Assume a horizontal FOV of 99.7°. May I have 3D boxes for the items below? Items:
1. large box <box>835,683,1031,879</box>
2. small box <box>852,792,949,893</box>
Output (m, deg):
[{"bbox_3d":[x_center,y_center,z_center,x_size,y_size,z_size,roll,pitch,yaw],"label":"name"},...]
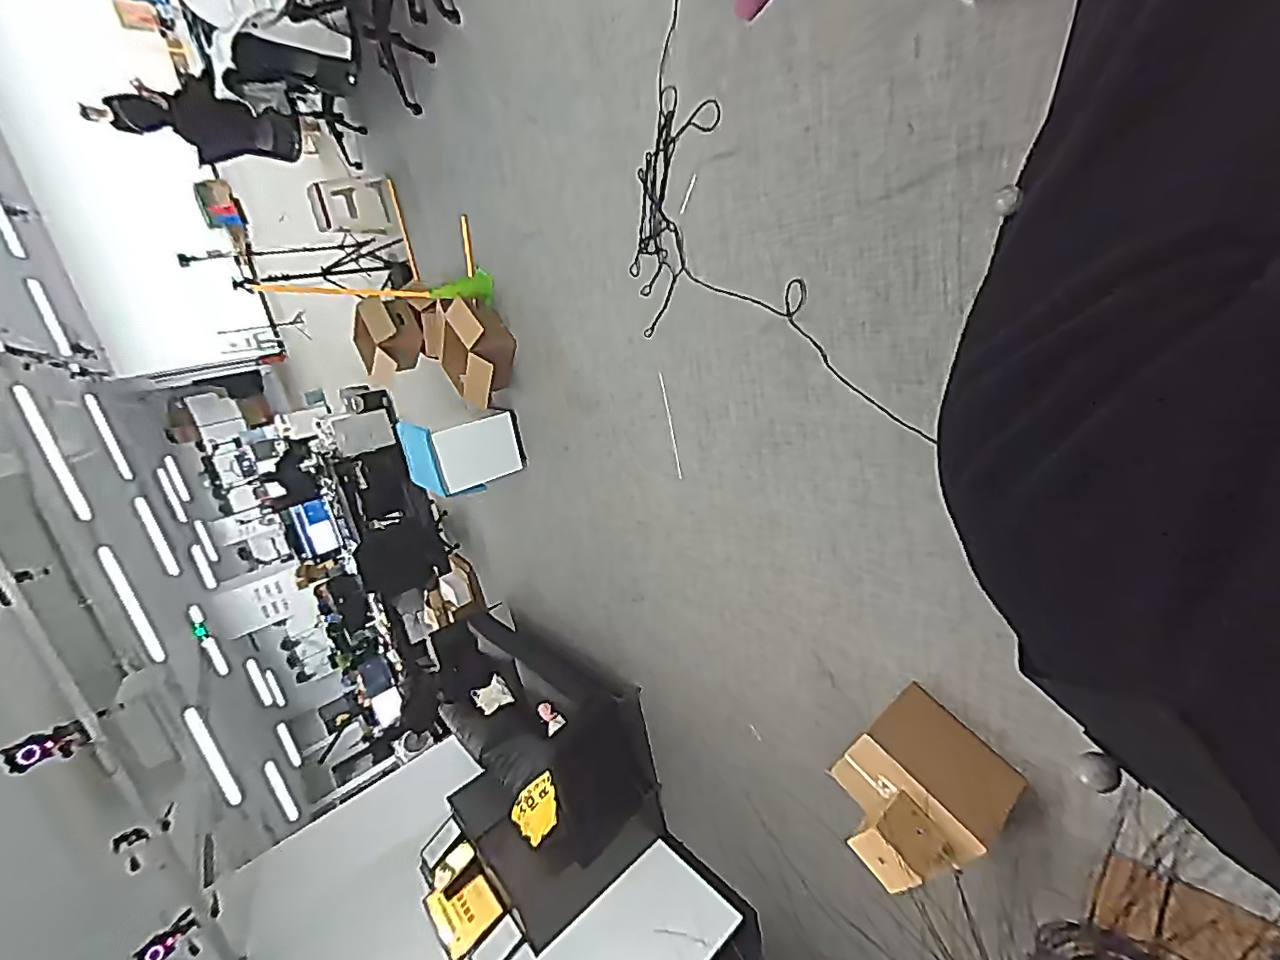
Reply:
[{"bbox_3d":[0.935,0.962,1.757,0.408,0.320,0.320,44,139,33],"label":"large box"},{"bbox_3d":[0.775,1.072,1.604,0.168,0.176,0.179,46,141,29],"label":"small box"}]
